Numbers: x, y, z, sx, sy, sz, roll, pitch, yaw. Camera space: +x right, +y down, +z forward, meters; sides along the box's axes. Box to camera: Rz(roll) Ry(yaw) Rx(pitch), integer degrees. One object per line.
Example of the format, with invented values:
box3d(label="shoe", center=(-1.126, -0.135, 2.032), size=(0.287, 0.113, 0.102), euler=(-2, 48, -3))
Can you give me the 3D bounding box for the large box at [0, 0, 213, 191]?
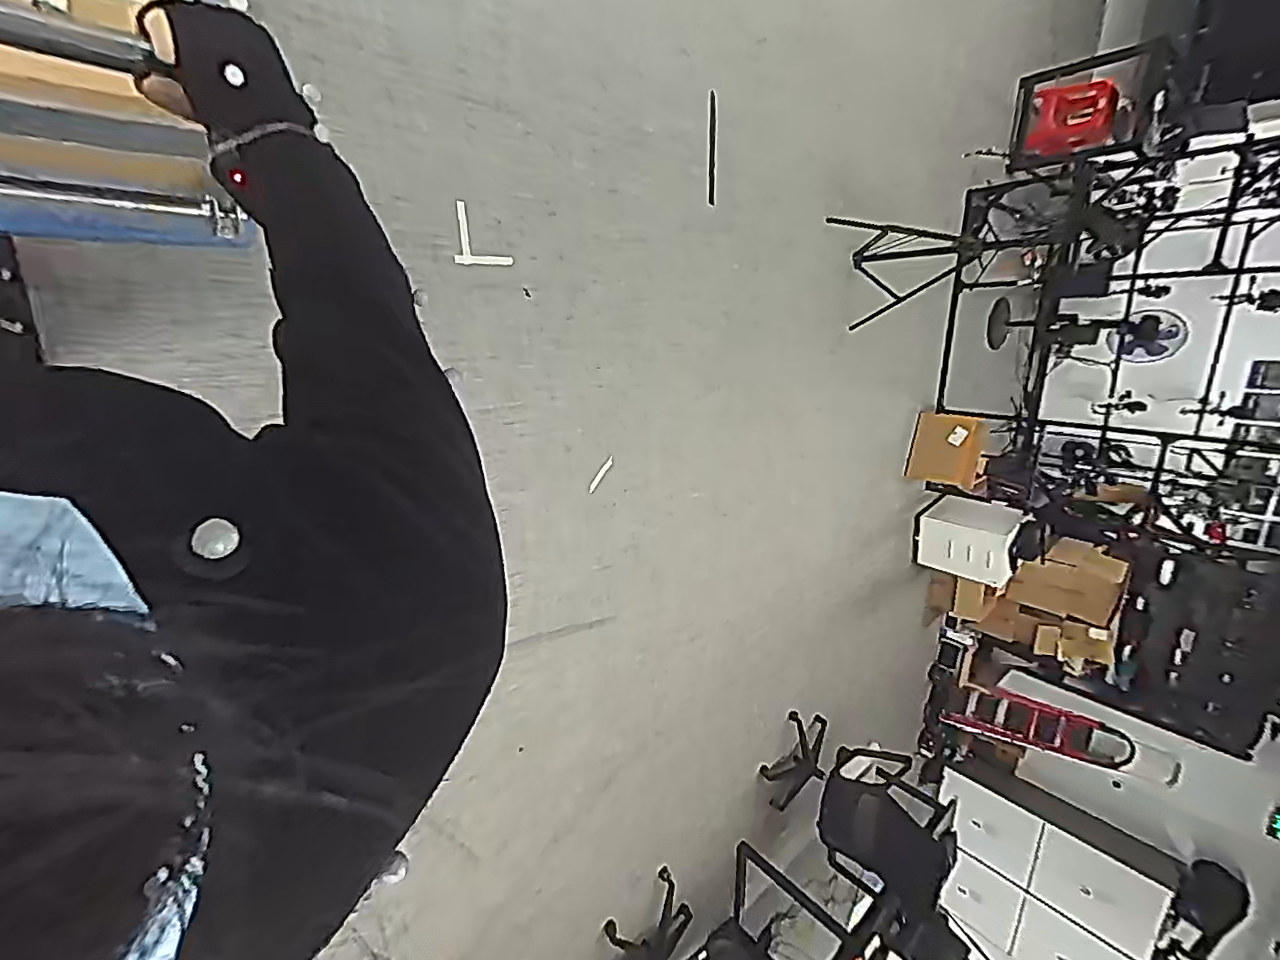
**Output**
box3d(label="large box", center=(-0.833, -0.586, 0.676), size=(0.408, 0.320, 0.320), euler=(-14, 111, -41))
